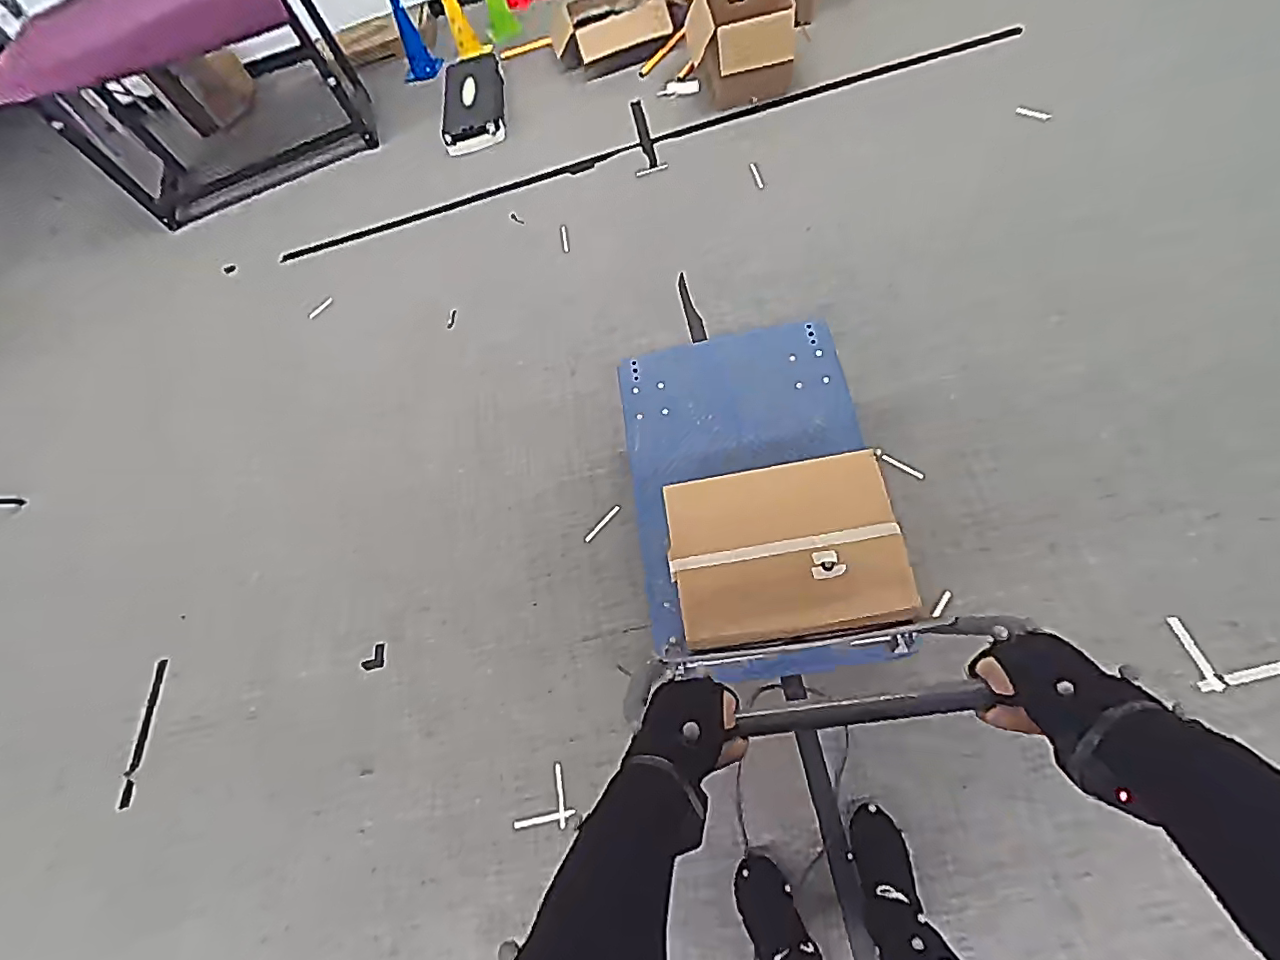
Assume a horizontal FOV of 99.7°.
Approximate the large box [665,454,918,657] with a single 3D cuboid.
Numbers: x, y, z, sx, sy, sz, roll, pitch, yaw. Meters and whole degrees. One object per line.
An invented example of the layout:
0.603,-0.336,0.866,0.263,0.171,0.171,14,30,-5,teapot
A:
0.287,0.178,1.135,0.408,0.320,0.320,-11,70,6,large box
